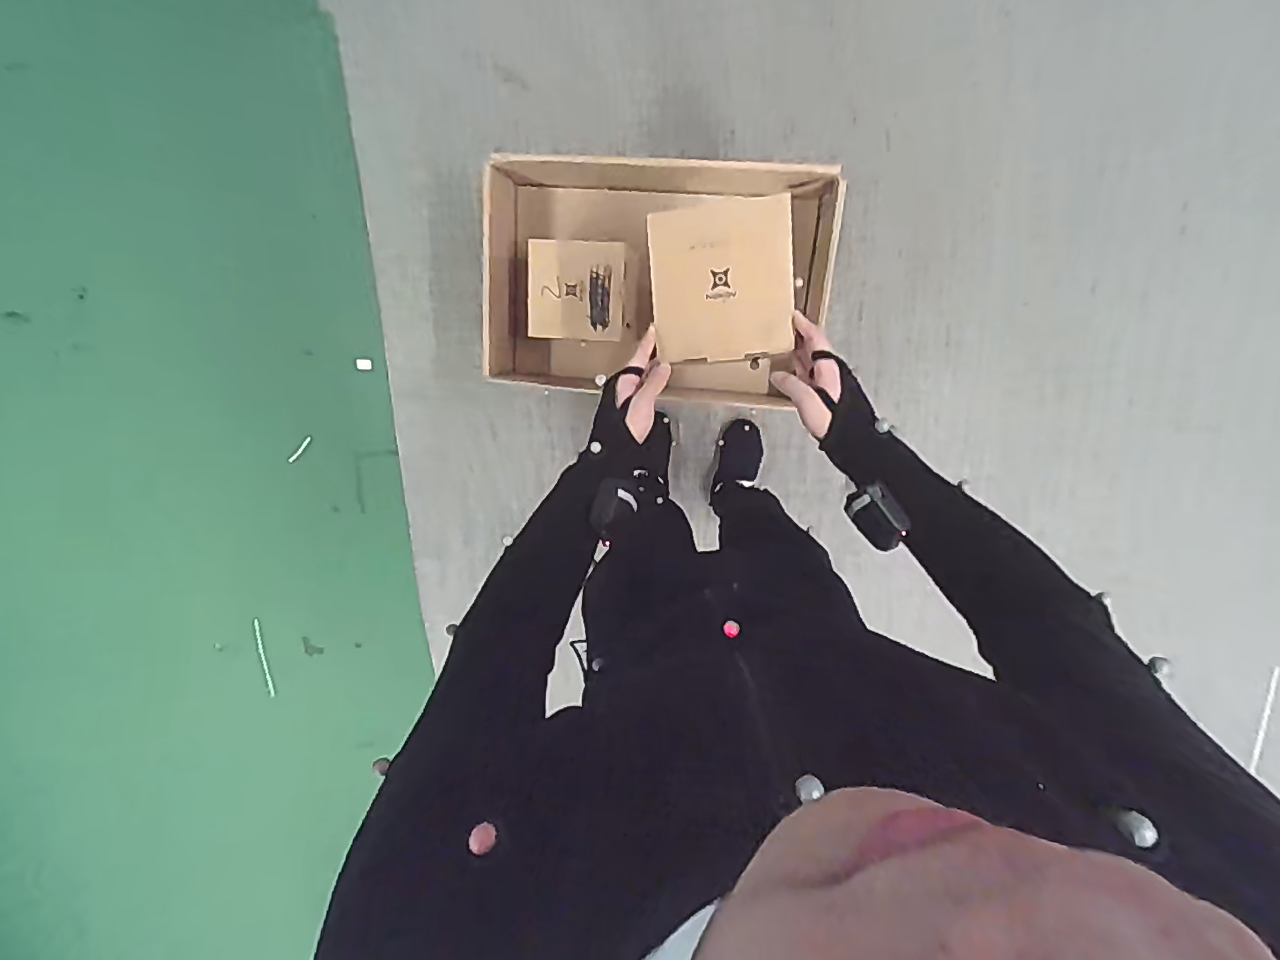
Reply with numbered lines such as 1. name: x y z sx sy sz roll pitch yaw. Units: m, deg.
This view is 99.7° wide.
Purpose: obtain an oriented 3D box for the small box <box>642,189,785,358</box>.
1. small box: 0.103 -0.255 0.710 0.168 0.176 0.179 -2 101 12
